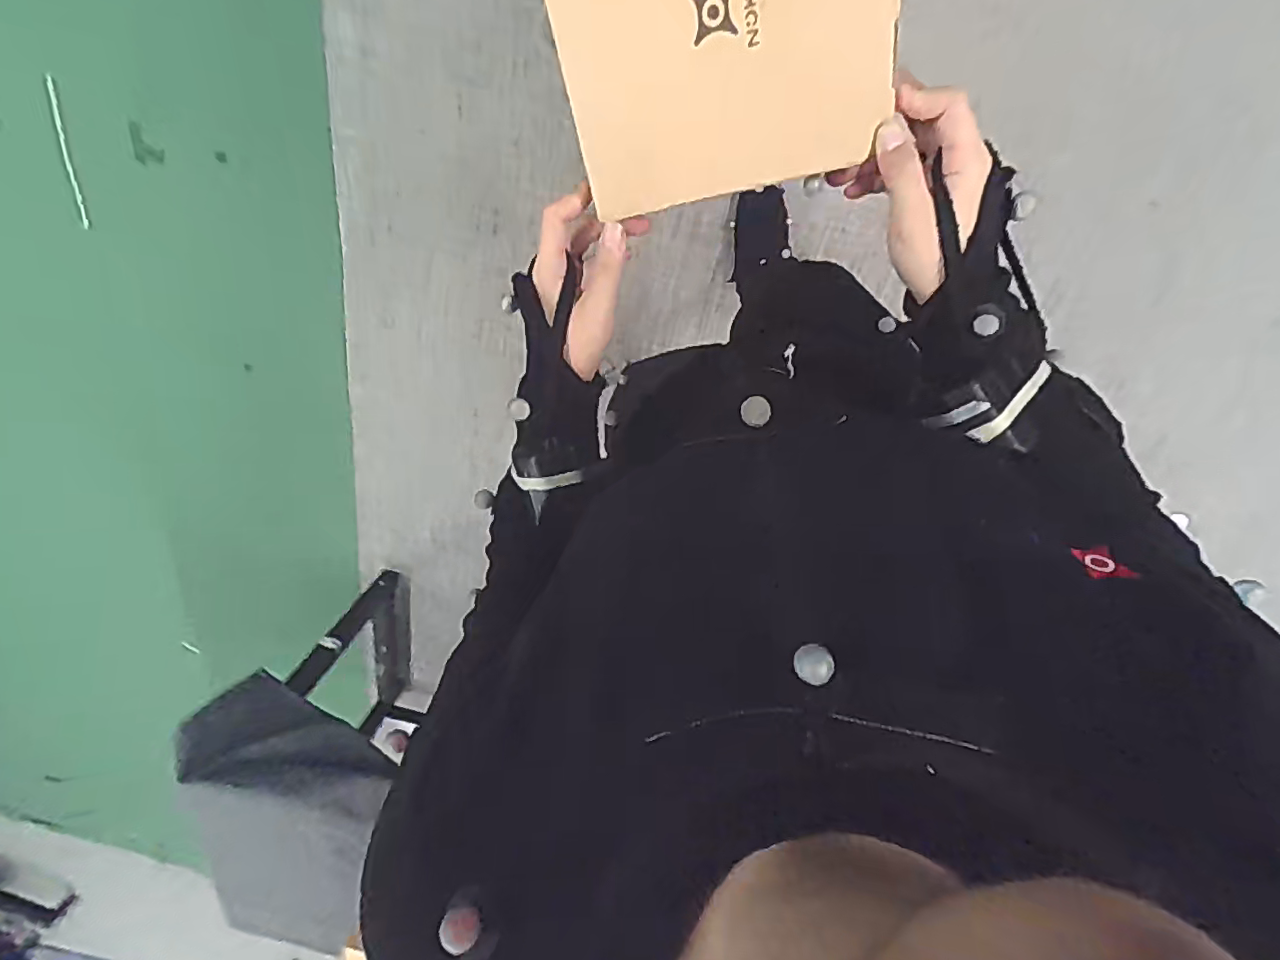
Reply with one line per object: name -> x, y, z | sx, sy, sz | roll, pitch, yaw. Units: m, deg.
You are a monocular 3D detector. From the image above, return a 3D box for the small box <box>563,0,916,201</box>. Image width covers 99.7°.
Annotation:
small box -> 0.051, -0.286, 0.336 | 0.179, 0.176, 0.168 | -10, 122, 7
